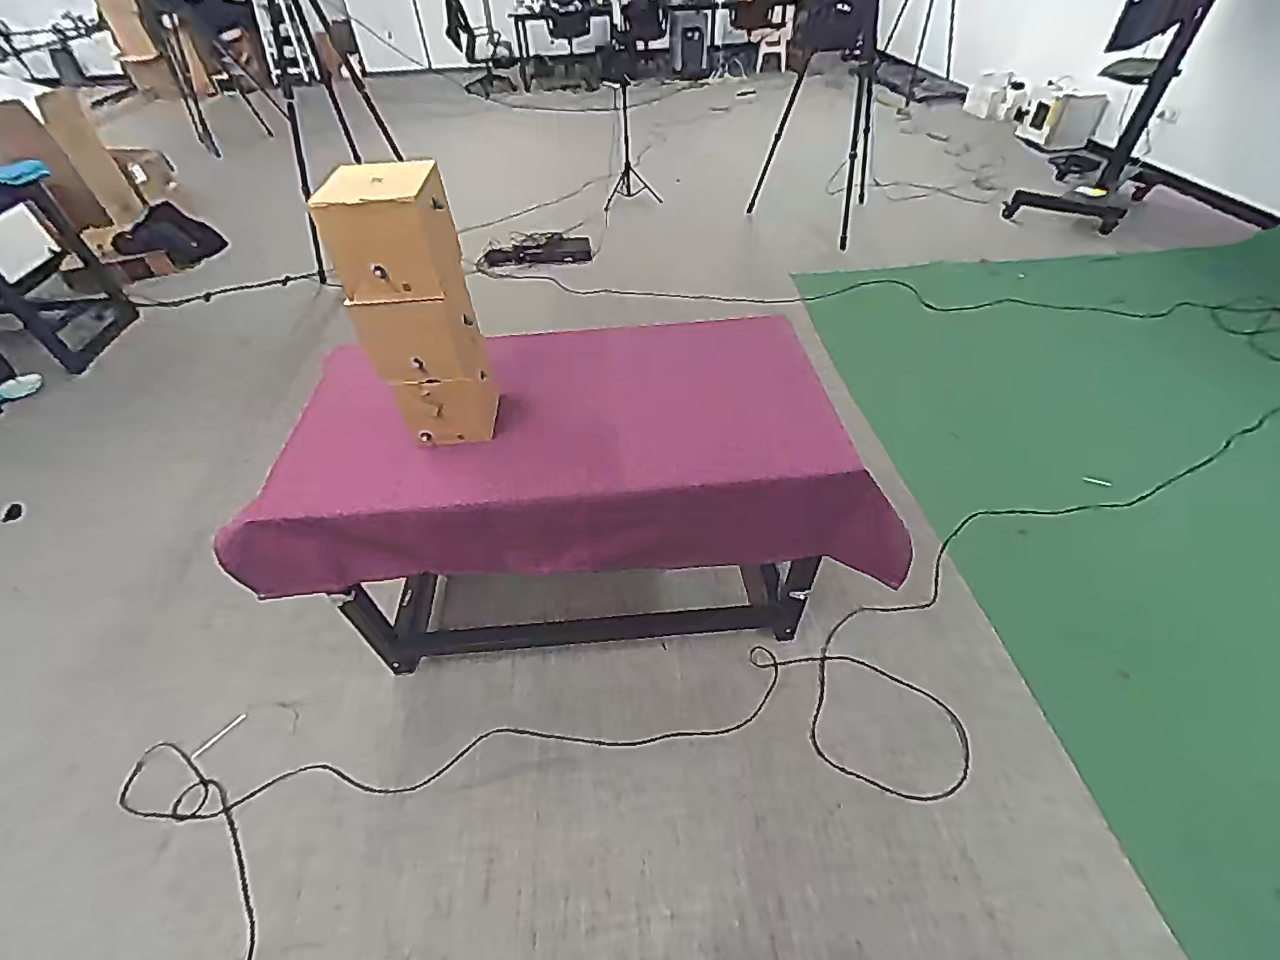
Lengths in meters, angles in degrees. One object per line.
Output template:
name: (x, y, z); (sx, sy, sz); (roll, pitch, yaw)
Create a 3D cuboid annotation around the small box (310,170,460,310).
small box: (-0.423, -0.414, 0.934); (0.168, 0.176, 0.179); (-5, 47, -1)

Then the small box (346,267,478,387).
small box: (-0.426, -0.296, 1.048); (0.179, 0.176, 0.168); (-3, 46, -1)

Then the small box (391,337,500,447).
small box: (-0.408, -0.184, 1.167); (0.168, 0.176, 0.179); (-5, 45, -2)
